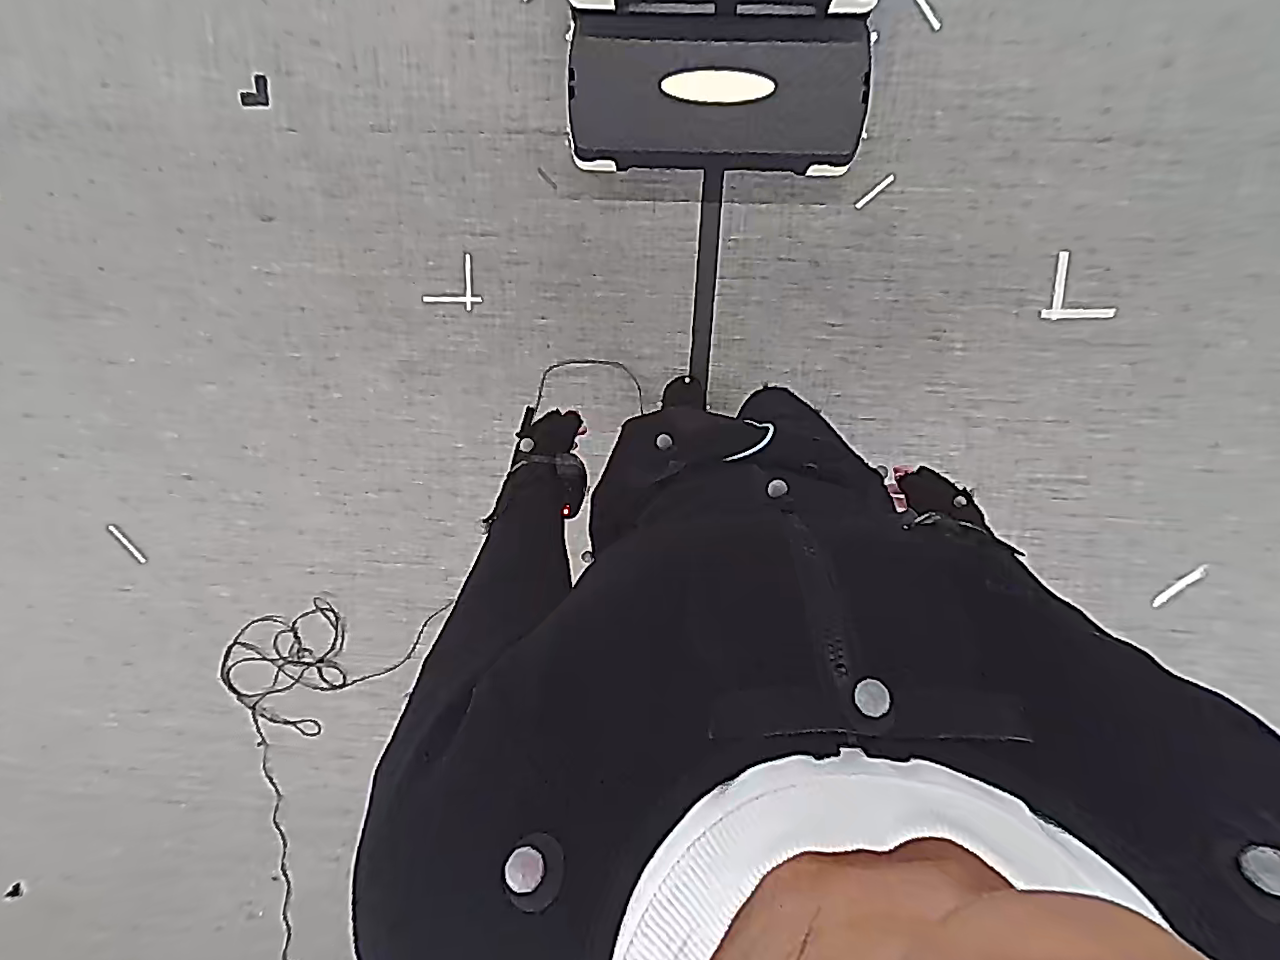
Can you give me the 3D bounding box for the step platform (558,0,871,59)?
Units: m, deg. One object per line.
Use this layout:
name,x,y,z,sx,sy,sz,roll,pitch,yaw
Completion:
step platform,0.157,-1.112,1.150,0.684,0.204,0.286,1,101,1
